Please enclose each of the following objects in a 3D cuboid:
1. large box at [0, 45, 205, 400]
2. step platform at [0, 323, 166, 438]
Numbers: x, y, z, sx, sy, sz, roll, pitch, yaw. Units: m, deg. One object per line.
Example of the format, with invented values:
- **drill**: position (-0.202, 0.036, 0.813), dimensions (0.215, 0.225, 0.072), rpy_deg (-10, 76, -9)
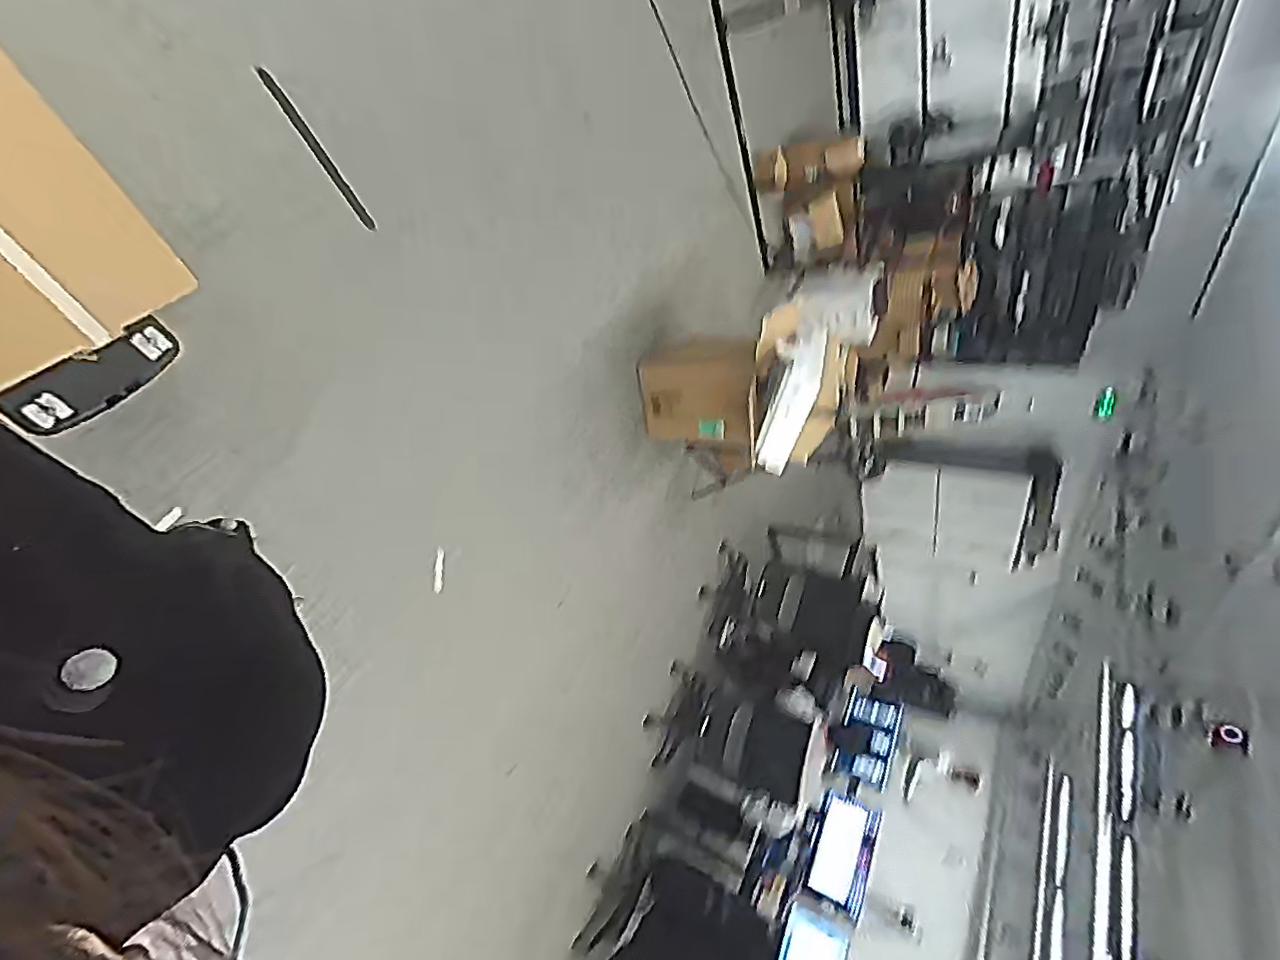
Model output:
- **large box**: position (-0.920, -0.351, 0.710), dimensions (0.320, 0.320, 0.408), rpy_deg (-55, 138, -34)
- **step platform**: position (-1.126, -0.398, 0.824), dimensions (0.286, 0.204, 0.684), rpy_deg (-53, 136, -35)
